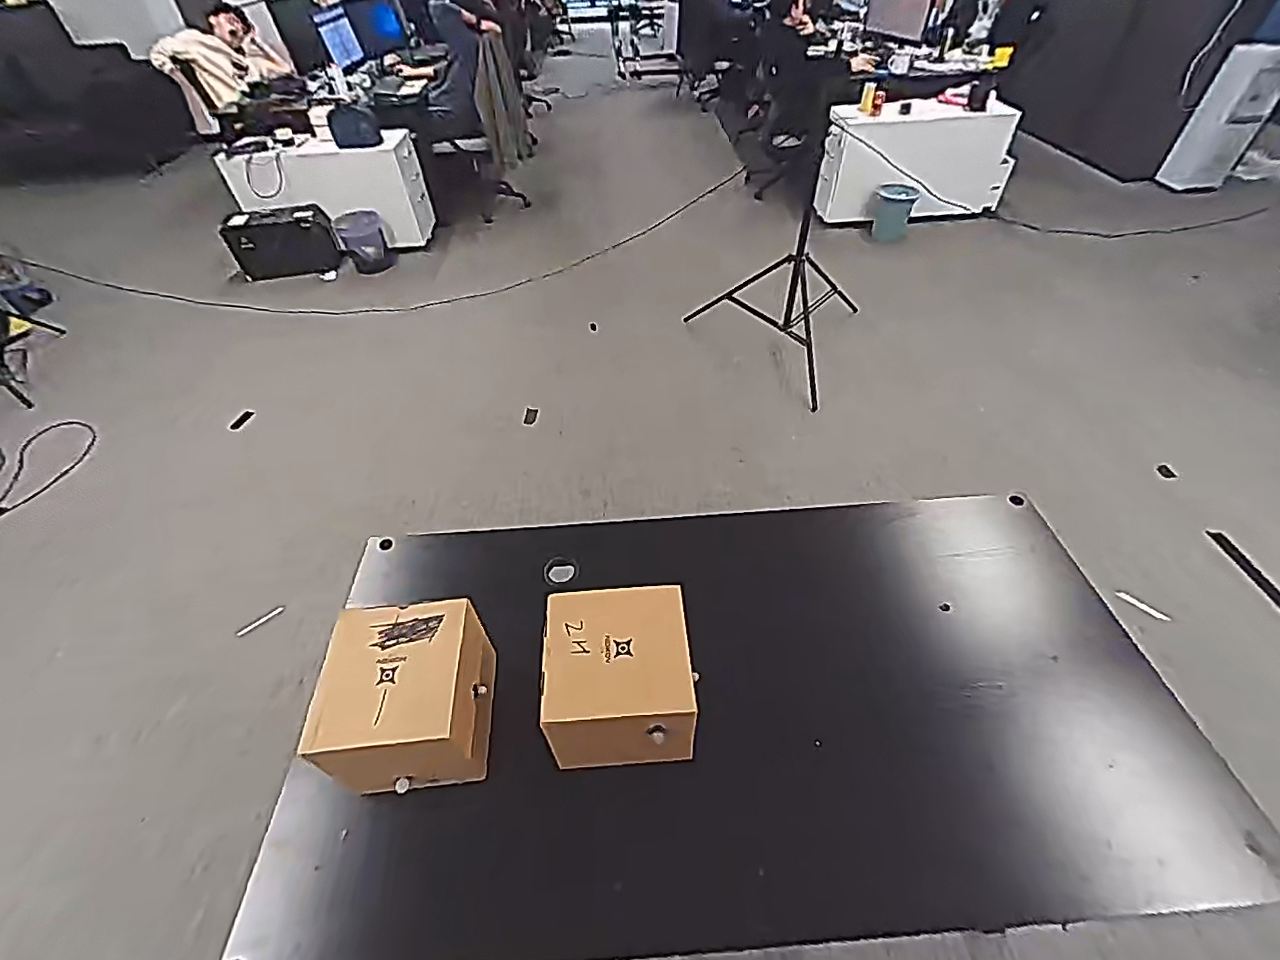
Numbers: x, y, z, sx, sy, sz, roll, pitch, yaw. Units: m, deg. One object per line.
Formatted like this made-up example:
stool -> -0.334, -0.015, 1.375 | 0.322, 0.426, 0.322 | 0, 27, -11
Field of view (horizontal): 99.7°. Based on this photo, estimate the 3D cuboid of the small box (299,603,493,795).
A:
small box -> -0.295, 0.284, 0.702 | 0.168, 0.176, 0.179 | -5, 48, -3

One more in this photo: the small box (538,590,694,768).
small box -> -0.029, 0.263, 0.710 | 0.179, 0.176, 0.168 | -4, 46, -1
